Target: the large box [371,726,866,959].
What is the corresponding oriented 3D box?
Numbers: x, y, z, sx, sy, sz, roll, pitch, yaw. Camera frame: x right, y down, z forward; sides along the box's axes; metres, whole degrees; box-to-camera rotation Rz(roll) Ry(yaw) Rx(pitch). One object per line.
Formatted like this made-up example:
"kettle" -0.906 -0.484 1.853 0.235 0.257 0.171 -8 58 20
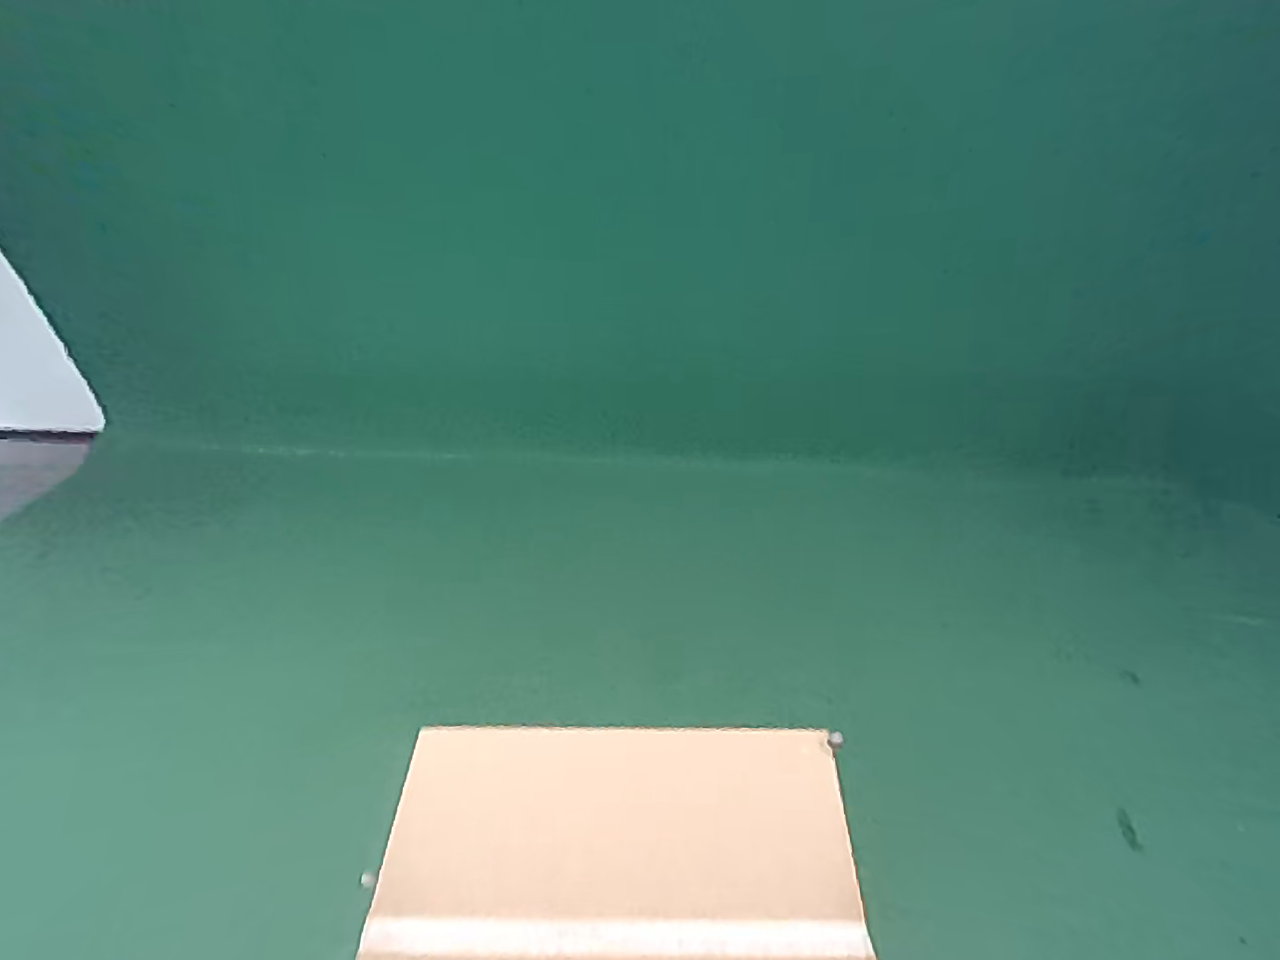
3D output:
"large box" -0.017 0.465 0.558 0.408 0.320 0.320 0 50 1
